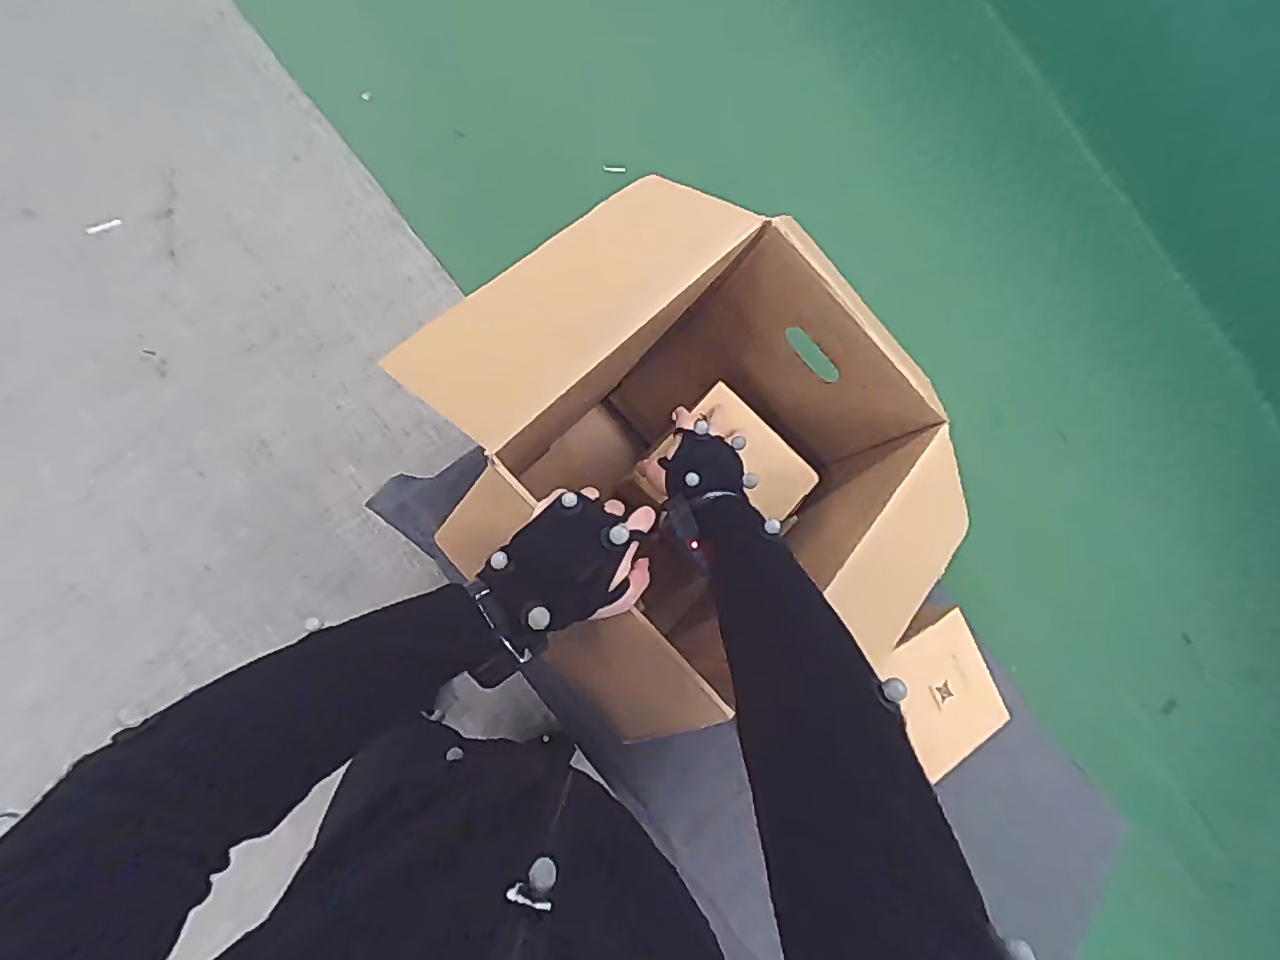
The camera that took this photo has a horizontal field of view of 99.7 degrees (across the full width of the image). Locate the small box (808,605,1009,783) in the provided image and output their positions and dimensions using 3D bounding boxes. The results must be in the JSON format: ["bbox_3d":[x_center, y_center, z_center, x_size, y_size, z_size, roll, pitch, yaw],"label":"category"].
[{"bbox_3d":[0.371,0.292,0.781,0.179,0.176,0.168,-22,87,-22],"label":"small box"}]
